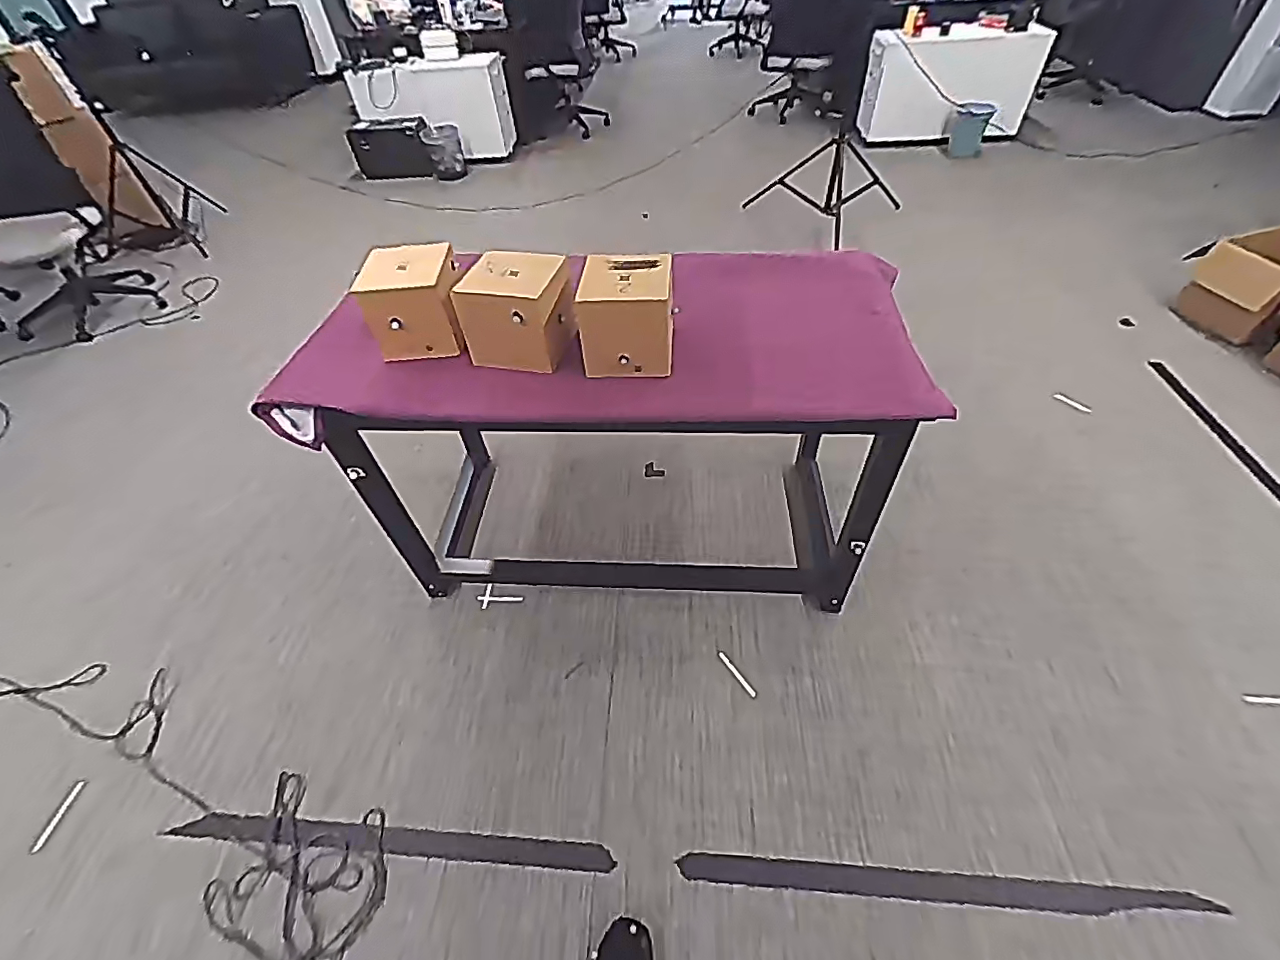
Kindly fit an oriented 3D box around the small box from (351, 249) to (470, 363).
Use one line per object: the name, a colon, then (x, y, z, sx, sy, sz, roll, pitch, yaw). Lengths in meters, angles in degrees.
small box: (-0.471, -0.361, 1.141, 0.168, 0.176, 0.179, -6, 48, 0)
